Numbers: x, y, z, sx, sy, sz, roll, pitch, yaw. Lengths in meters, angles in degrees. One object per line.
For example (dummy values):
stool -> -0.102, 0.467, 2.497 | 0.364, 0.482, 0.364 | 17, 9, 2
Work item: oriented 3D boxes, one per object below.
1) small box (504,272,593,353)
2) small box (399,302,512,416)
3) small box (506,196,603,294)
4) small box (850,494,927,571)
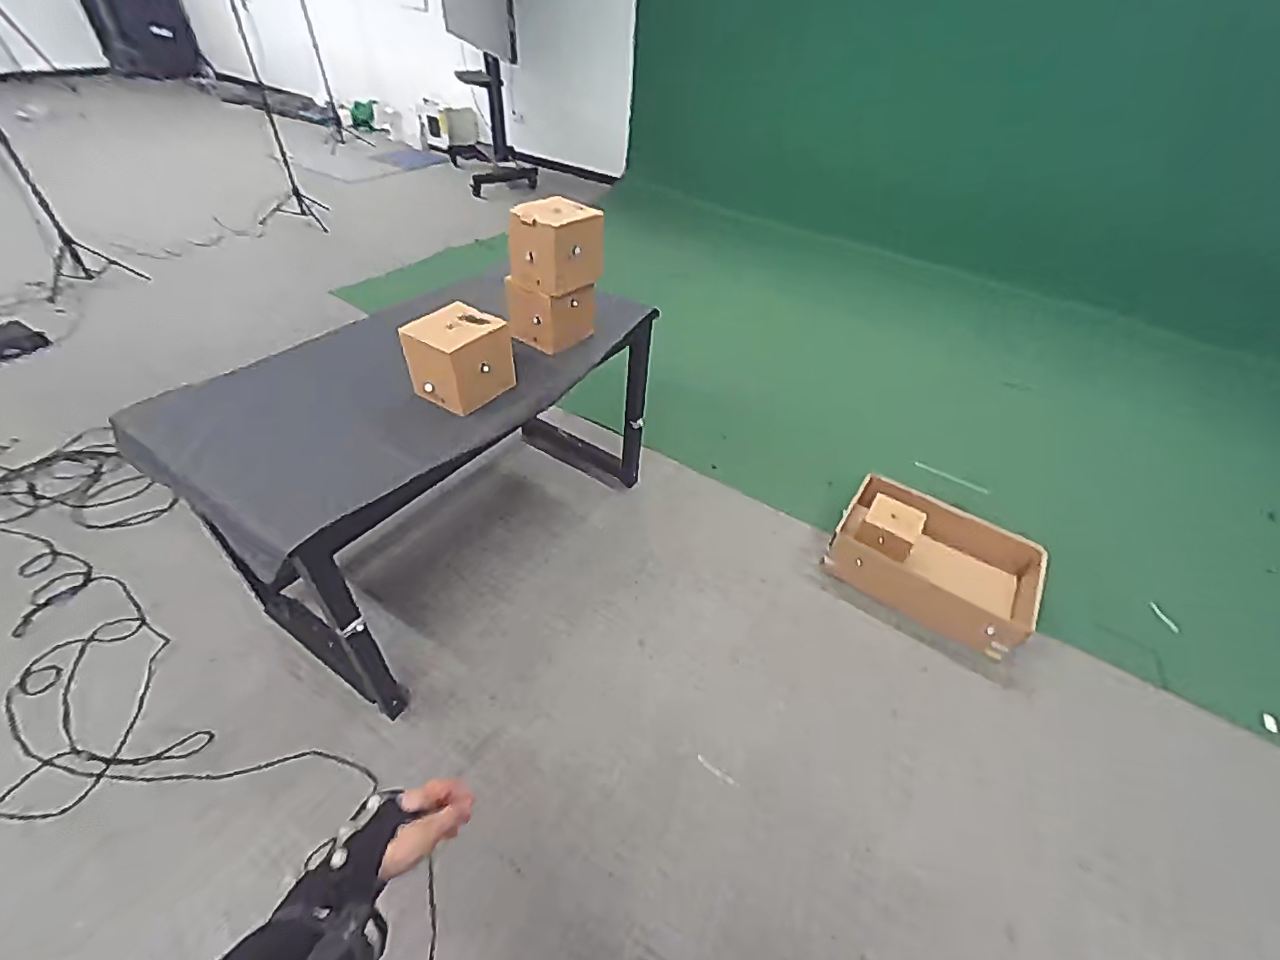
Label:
small box -> -0.240, -0.467, 1.462 | 0.168, 0.176, 0.179 | 30, 47, 23
small box -> -0.410, -0.277, 1.238 | 0.168, 0.176, 0.179 | 26, 48, 23
small box -> -0.208, -0.586, 1.352 | 0.168, 0.176, 0.179 | 32, 49, 26
small box -> 0.858, 0.186, 1.880 | 0.179, 0.176, 0.168 | 29, 49, 21
